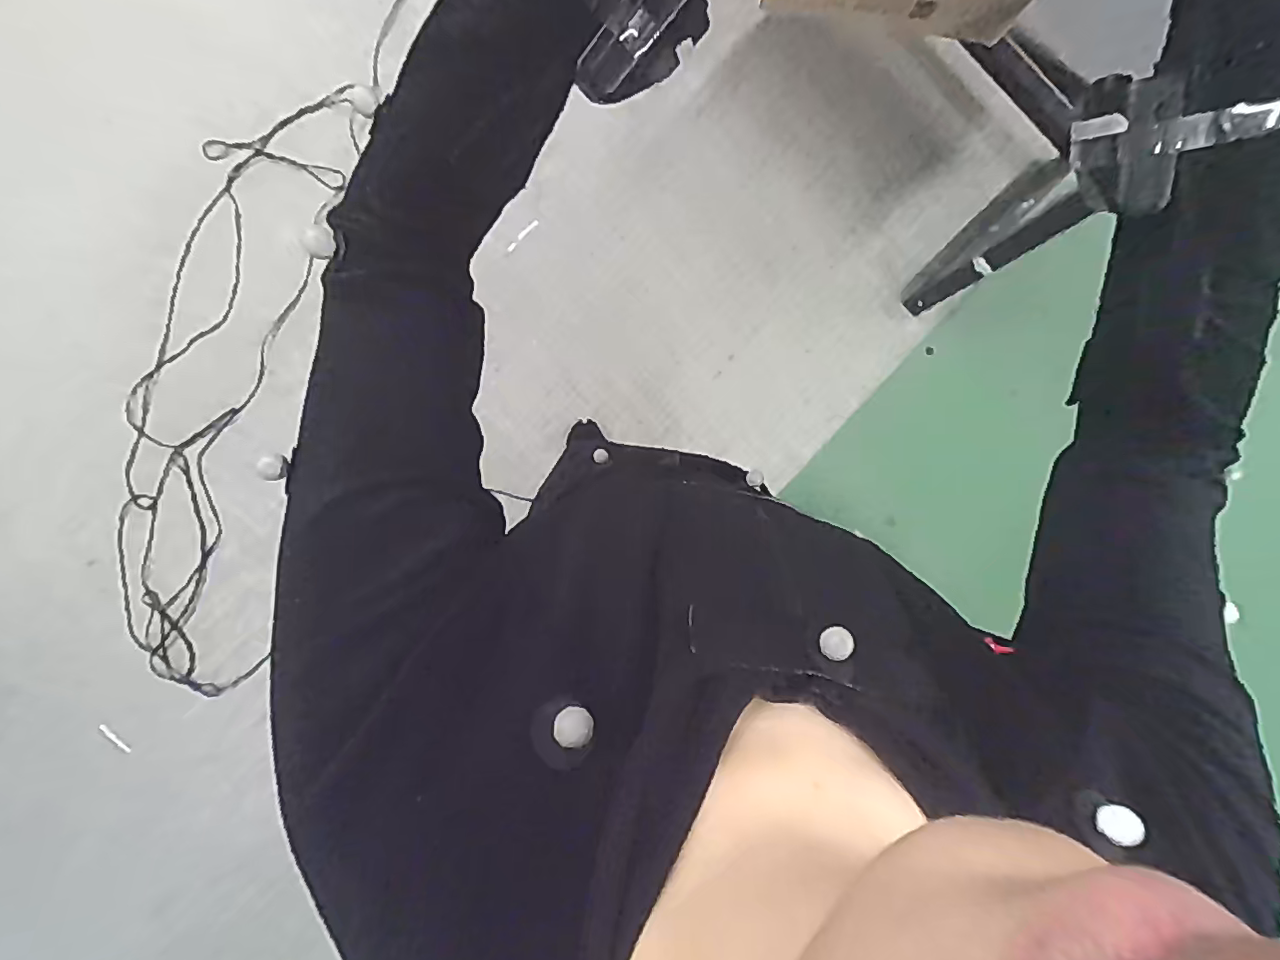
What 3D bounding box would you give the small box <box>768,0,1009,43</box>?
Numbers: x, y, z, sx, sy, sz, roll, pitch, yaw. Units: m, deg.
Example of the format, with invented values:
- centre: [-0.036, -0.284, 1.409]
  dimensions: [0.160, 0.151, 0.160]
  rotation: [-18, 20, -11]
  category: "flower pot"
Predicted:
- centre: [0.165, -0.391, 0.284]
  dimensions: [0.168, 0.176, 0.179]
  rotation: [6, 91, -2]
  category: "small box"
